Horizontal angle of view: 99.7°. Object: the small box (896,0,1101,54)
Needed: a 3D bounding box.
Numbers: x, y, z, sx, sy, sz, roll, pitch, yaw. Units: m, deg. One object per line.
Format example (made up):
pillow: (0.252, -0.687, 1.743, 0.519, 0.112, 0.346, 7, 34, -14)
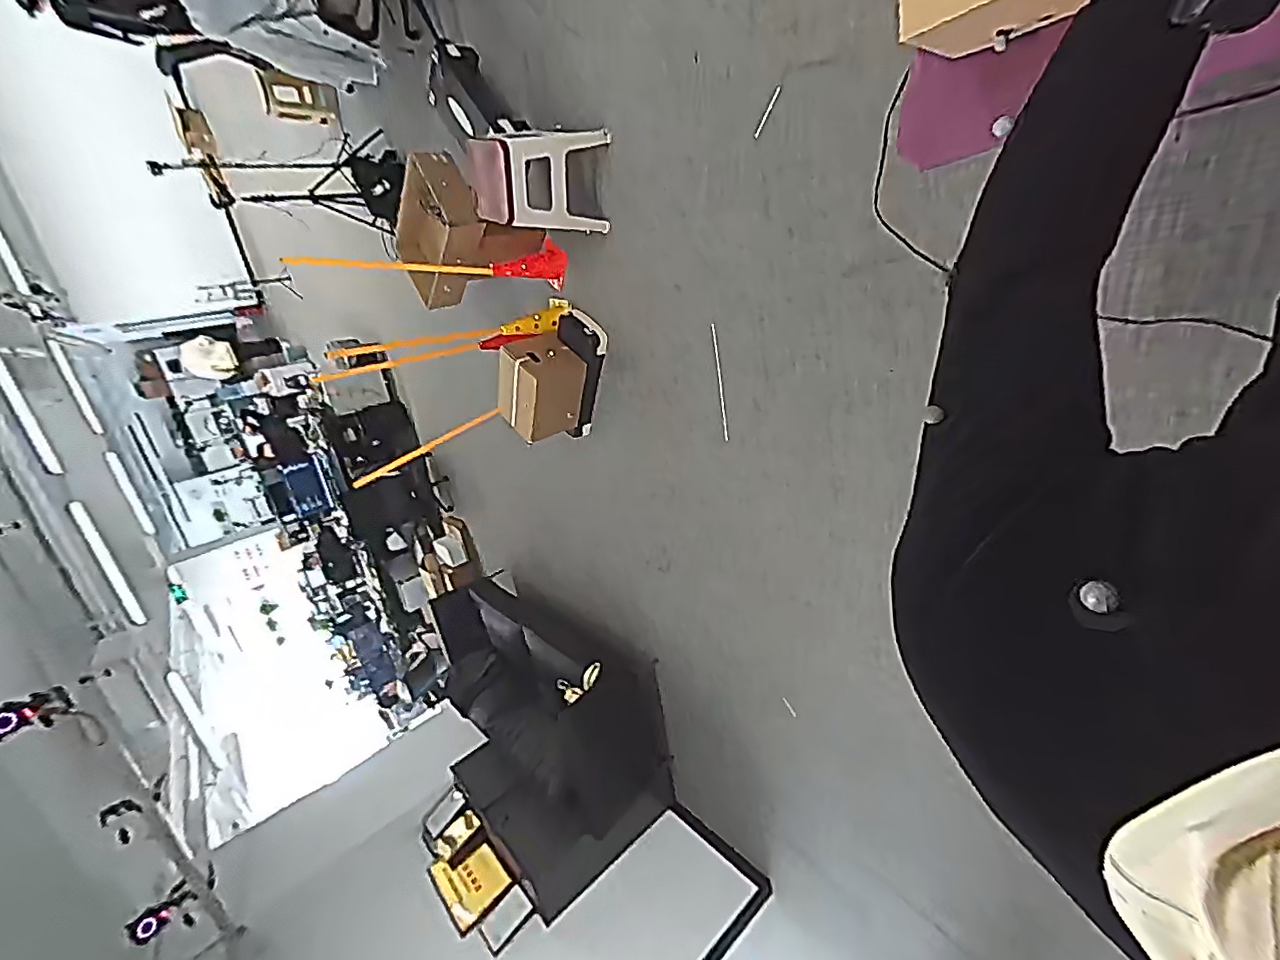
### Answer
small box: (0.395, -0.598, 0.578, 0.168, 0.176, 0.179, 14, 120, 49)
